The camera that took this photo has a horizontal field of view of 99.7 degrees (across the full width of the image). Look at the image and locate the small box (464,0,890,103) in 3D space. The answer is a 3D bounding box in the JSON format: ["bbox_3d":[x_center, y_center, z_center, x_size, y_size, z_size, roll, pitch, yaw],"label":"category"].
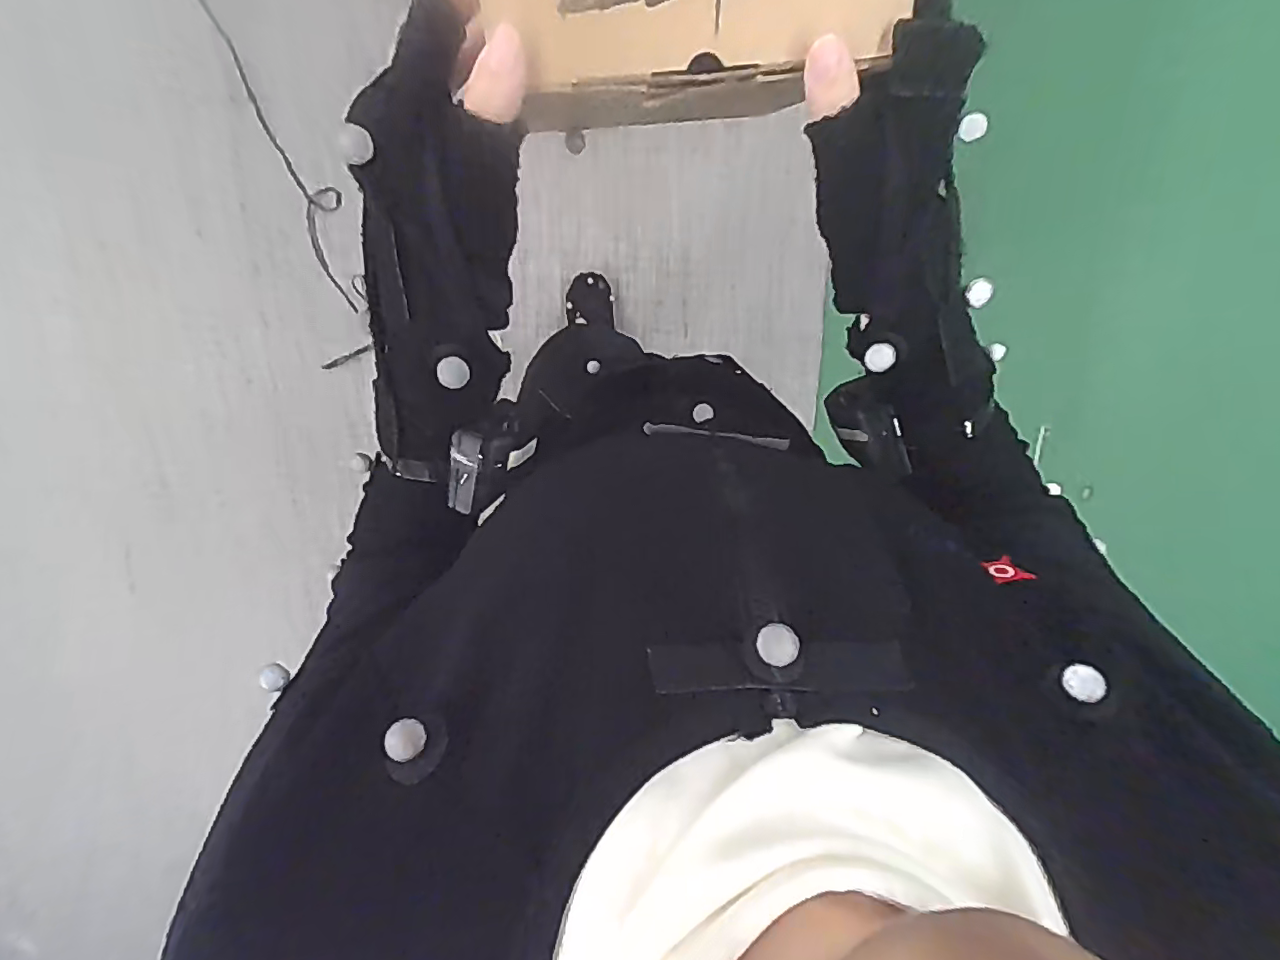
[{"bbox_3d":[0.004,-0.282,0.239,0.168,0.176,0.179,-7,118,-4],"label":"small box"}]
